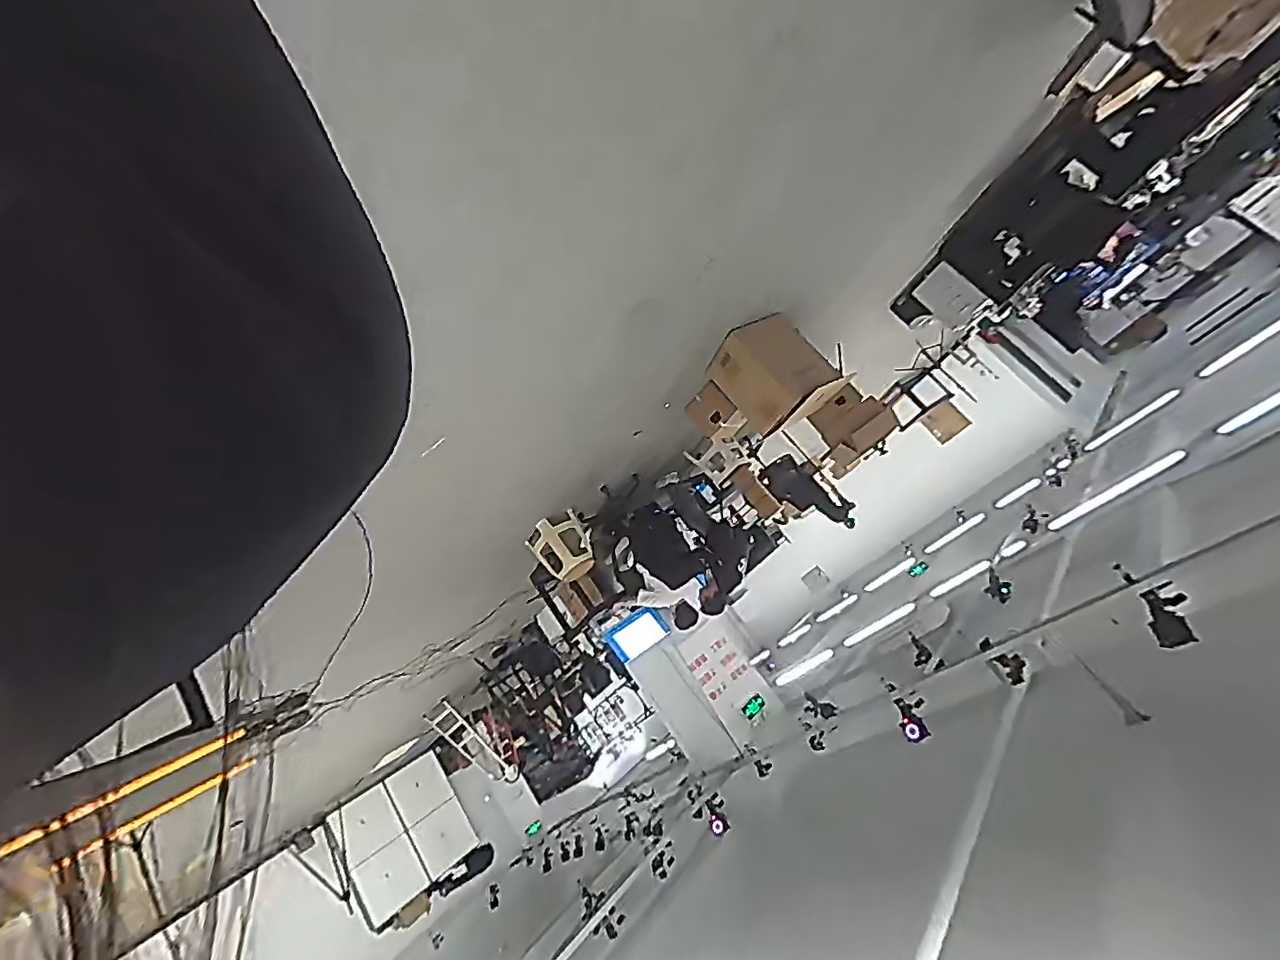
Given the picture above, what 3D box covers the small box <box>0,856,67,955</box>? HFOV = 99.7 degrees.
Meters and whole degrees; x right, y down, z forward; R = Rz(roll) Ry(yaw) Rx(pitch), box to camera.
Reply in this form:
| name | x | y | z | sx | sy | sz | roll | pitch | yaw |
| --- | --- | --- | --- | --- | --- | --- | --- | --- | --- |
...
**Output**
| name | x | y | z | sx | sy | sz | roll | pitch | yaw |
| --- | --- | --- | --- | --- | --- | --- | --- | --- | --- |
| small box | -1.686 | 1.143 | 1.439 | 0.168 | 0.176 | 0.179 | -24 | 159 | -42 |
